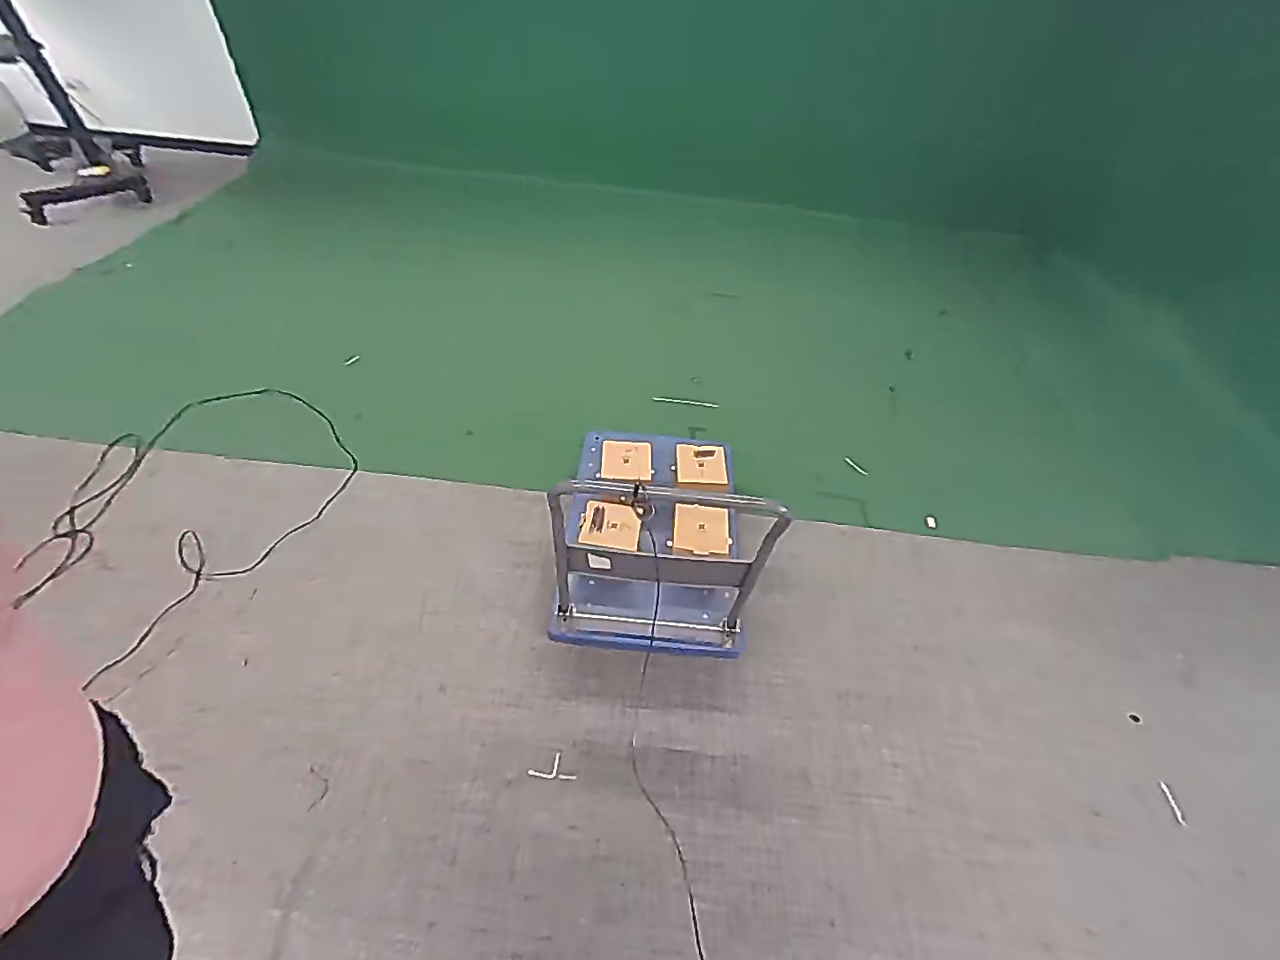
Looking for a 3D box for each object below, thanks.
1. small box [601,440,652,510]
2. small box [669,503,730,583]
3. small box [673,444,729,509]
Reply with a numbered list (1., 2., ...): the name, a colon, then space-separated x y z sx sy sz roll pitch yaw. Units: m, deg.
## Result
1. small box: -0.048 -0.014 1.853 0.168 0.176 0.179 3 48 -3
2. small box: 0.183 0.197 1.684 0.168 0.176 0.179 6 49 1
3. small box: 0.204 -0.003 1.865 0.168 0.176 0.179 2 49 -2
